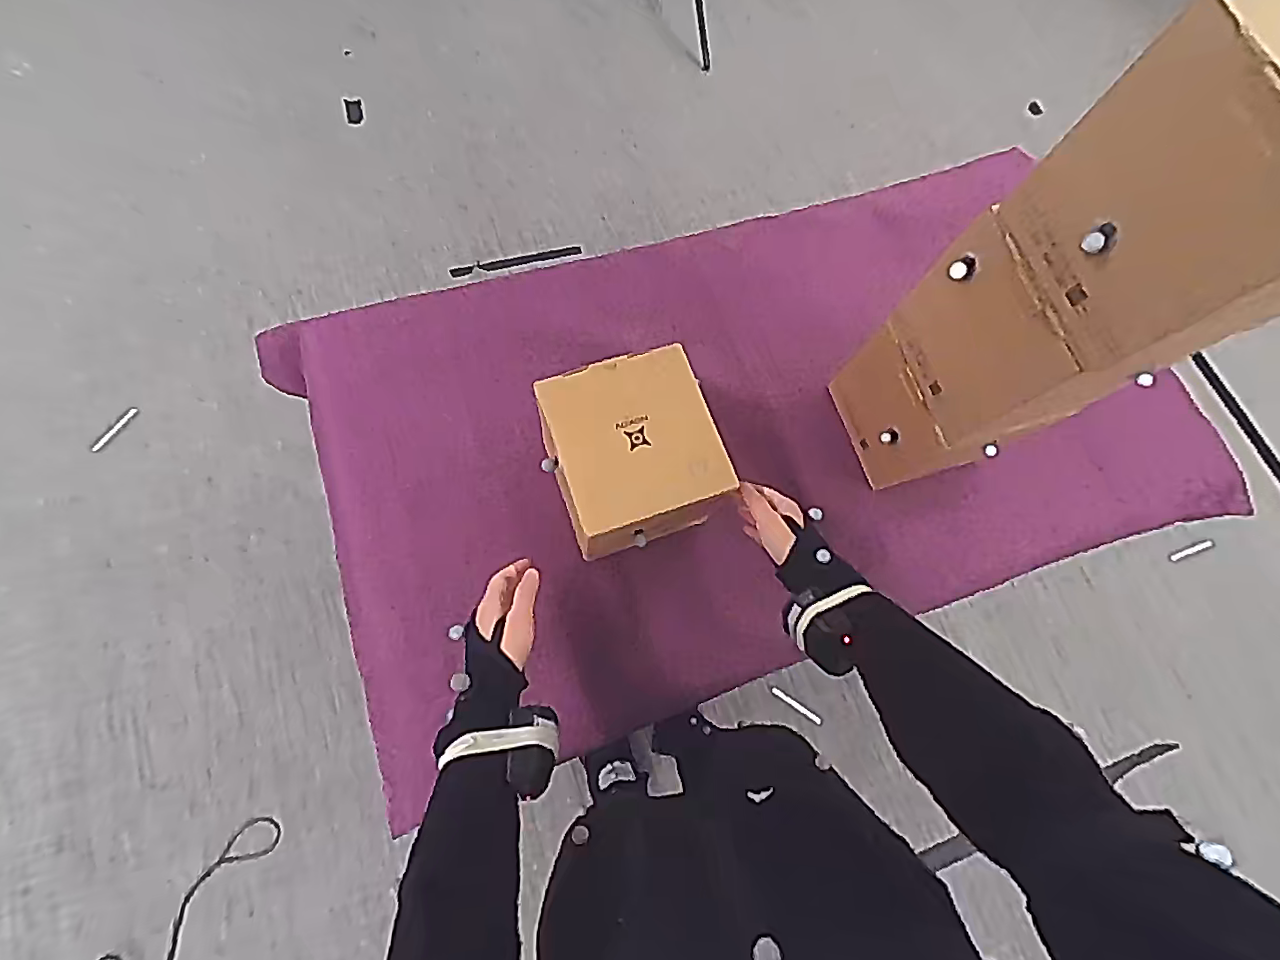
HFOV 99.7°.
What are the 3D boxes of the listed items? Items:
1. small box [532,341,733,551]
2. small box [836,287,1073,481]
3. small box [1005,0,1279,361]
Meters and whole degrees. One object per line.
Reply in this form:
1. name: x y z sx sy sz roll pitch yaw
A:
1. small box: -0.013 -0.026 0.629 0.168 0.176 0.179 -19 75 -10
2. small box: 0.376 -0.112 0.690 0.179 0.176 0.168 -15 76 -10
3. small box: 0.415 -0.207 0.377 0.179 0.176 0.168 -16 75 -9
